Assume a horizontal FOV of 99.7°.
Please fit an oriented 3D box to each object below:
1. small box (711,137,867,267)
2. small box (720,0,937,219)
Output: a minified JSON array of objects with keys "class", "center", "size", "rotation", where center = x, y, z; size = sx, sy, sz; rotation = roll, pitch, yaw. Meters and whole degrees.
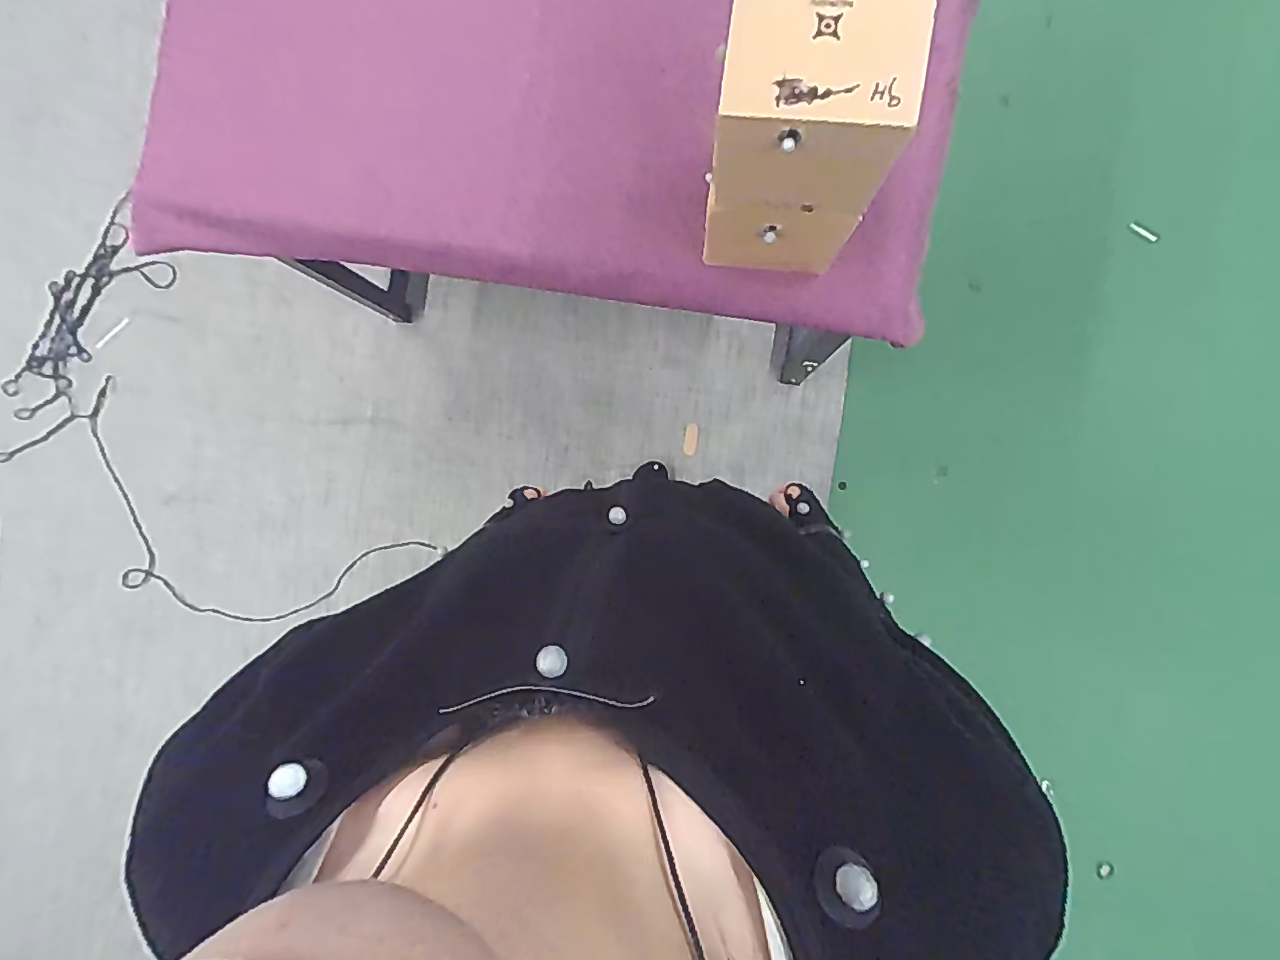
[{"class":"small box","center":[0.188,-0.386,0.692],"size":[0.179,0.176,0.168],"rotation":[7,92,8]},{"class":"small box","center":[0.171,-0.387,0.529],"size":[0.168,0.176,0.179],"rotation":[8,91,9]}]
